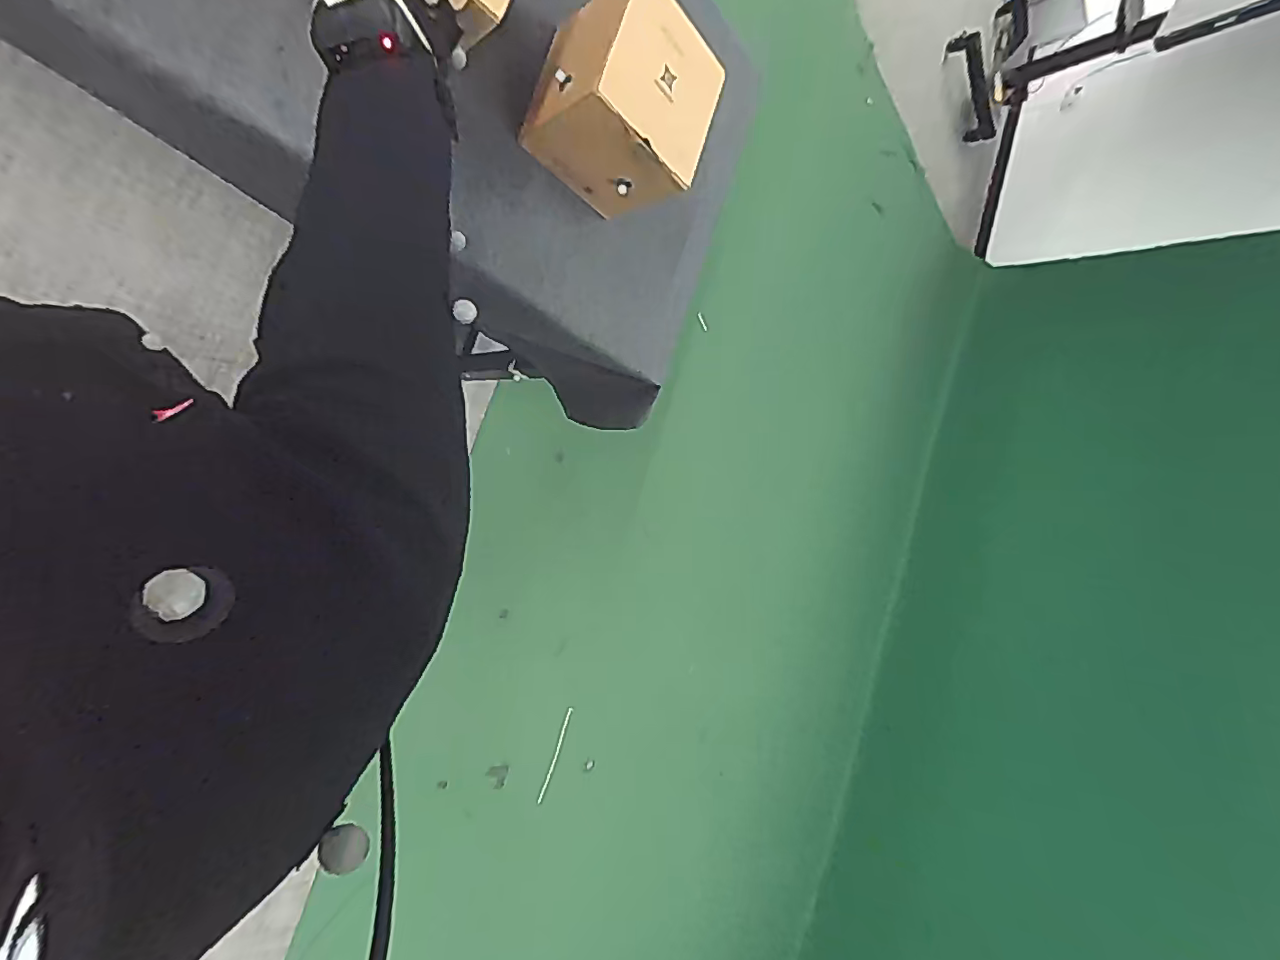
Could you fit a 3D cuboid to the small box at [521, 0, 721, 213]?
[{"bbox_3d":[-0.028,-0.478,0.693,0.168,0.176,0.179,23,80,-45],"label":"small box"}]
